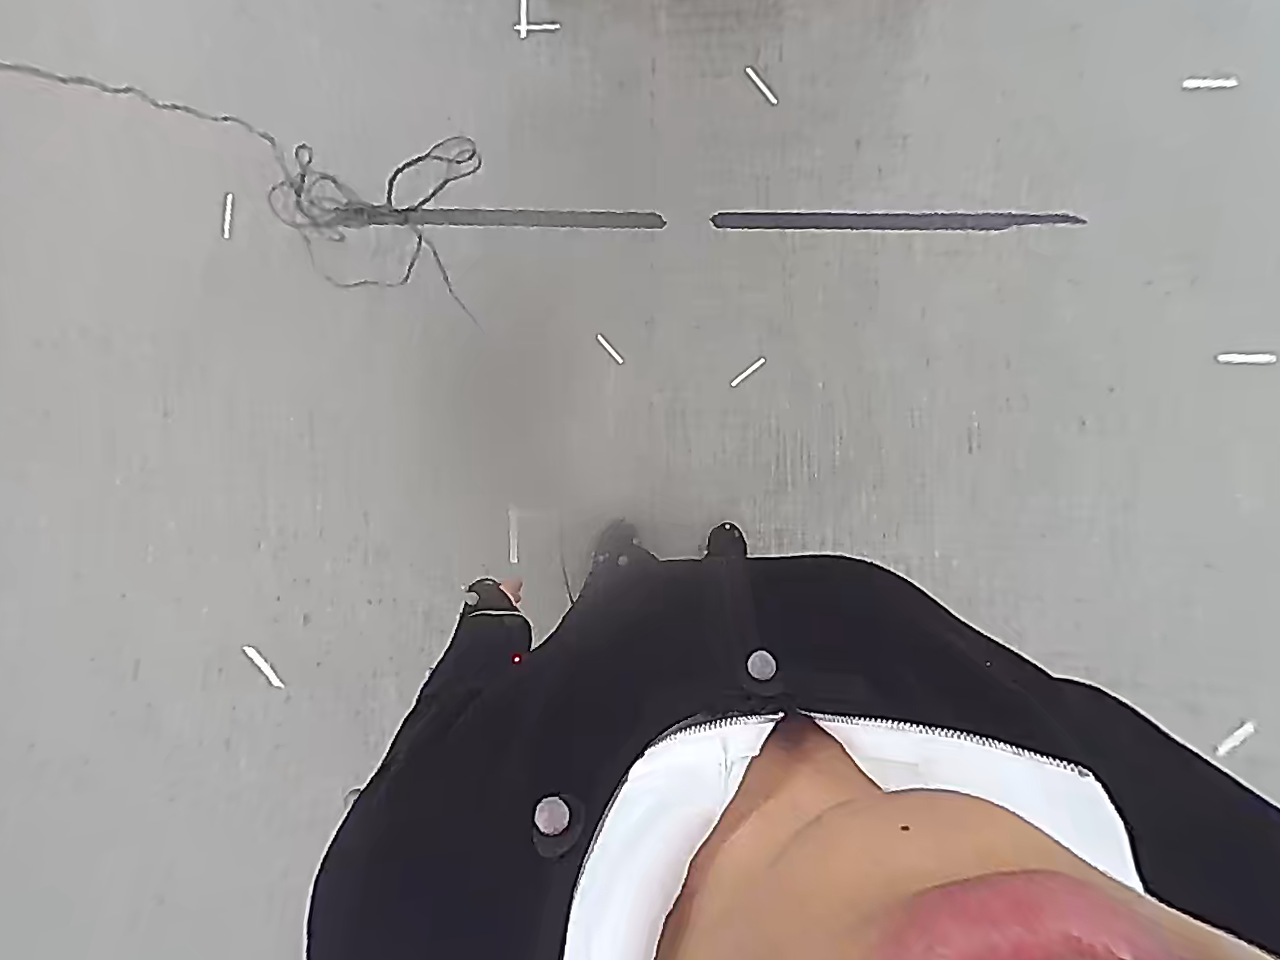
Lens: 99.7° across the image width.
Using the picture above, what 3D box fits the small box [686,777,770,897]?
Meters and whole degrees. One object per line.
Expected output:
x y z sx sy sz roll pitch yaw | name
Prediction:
0.185 0.757 1.174 0.168 0.176 0.179 -1 86 2 | small box
